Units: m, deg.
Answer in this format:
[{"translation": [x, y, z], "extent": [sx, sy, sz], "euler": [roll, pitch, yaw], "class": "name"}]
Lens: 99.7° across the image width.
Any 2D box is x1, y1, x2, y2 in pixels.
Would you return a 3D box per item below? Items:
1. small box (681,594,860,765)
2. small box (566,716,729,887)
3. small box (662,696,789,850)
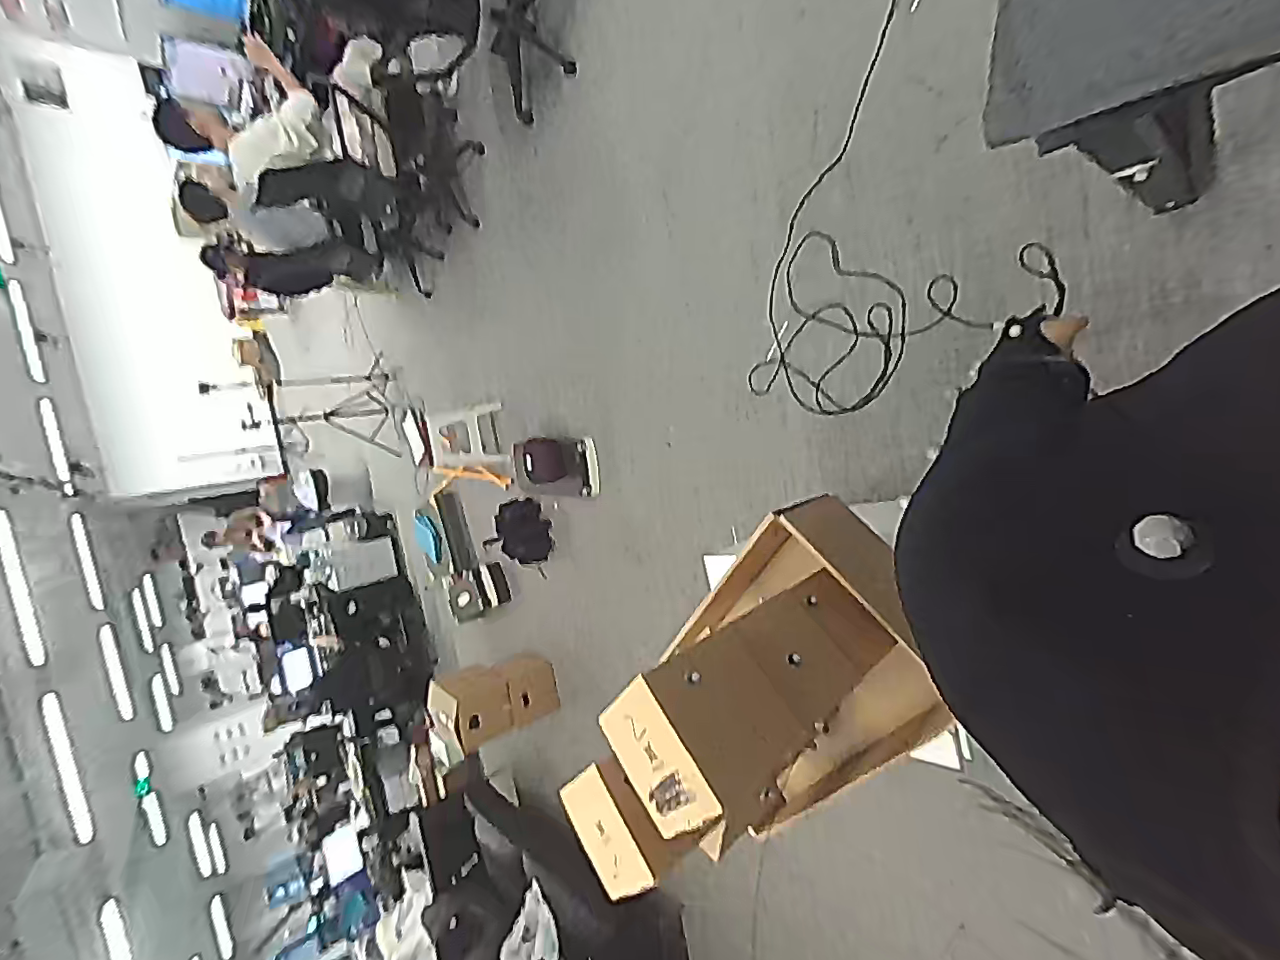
[{"translation": [0.204, 0.303, 0.857], "extent": [0.179, 0.176, 0.168], "euler": [50, 136, 25], "class": "small box"}, {"translation": [0.011, 0.519, 0.895], "extent": [0.179, 0.176, 0.168], "euler": [54, 135, 22], "class": "small box"}, {"translation": [0.144, 0.513, 0.995], "extent": [0.179, 0.176, 0.168], "euler": [24, 119, 40], "class": "small box"}]
